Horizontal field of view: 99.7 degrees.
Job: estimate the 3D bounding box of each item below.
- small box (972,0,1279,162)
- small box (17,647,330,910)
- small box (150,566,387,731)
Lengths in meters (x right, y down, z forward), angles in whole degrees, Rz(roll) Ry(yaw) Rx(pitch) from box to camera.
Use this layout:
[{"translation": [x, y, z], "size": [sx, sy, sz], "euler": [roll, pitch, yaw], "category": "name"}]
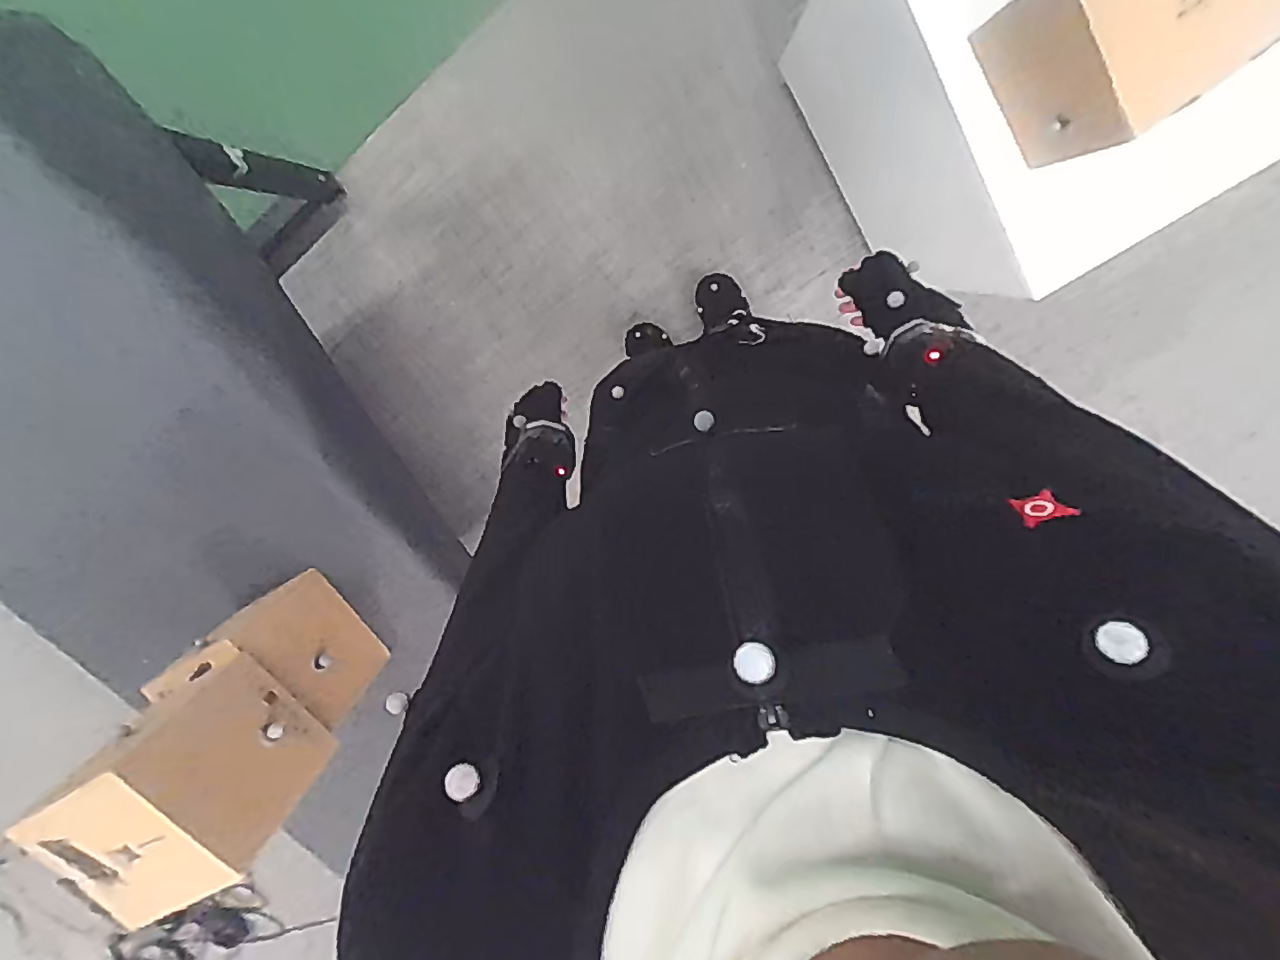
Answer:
[{"translation": [0.480, -0.450, 0.537], "size": [0.168, 0.176, 0.179], "euler": [-35, 104, 15], "category": "small box"}, {"translation": [-0.501, 0.326, 0.609], "size": [0.179, 0.176, 0.168], "euler": [-32, 105, 18], "category": "small box"}, {"translation": [-0.499, 0.254, 0.758], "size": [0.168, 0.176, 0.179], "euler": [-28, 107, 15], "category": "small box"}]
